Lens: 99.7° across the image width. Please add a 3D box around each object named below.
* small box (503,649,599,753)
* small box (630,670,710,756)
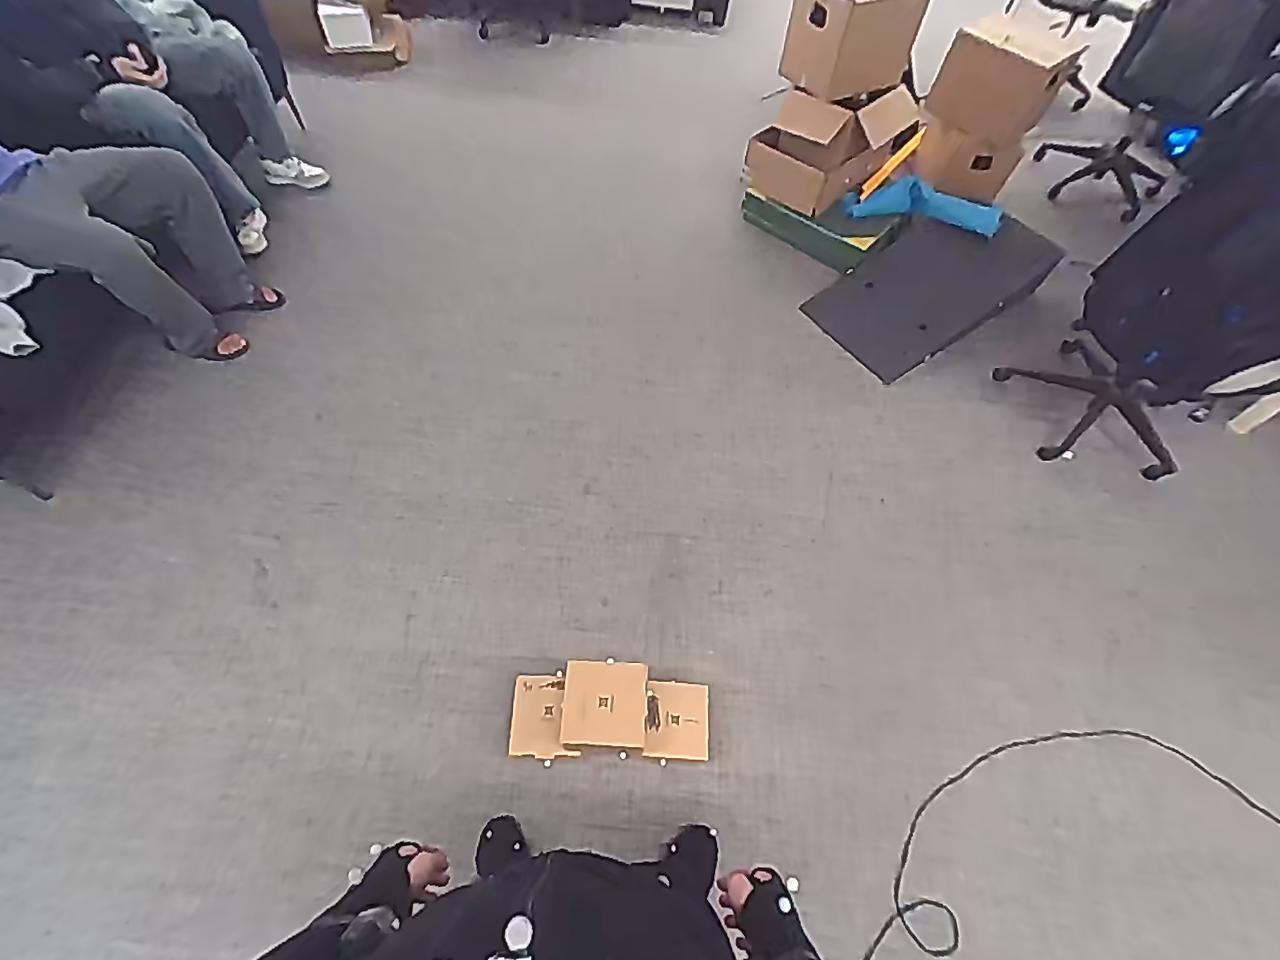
[{"bbox_3d":[-0.214,0.554,1.342,0.179,0.176,0.168,-25,62,-15],"label":"small box"},{"bbox_3d":[0.072,0.583,1.343,0.179,0.176,0.168,8,62,3],"label":"small box"}]
